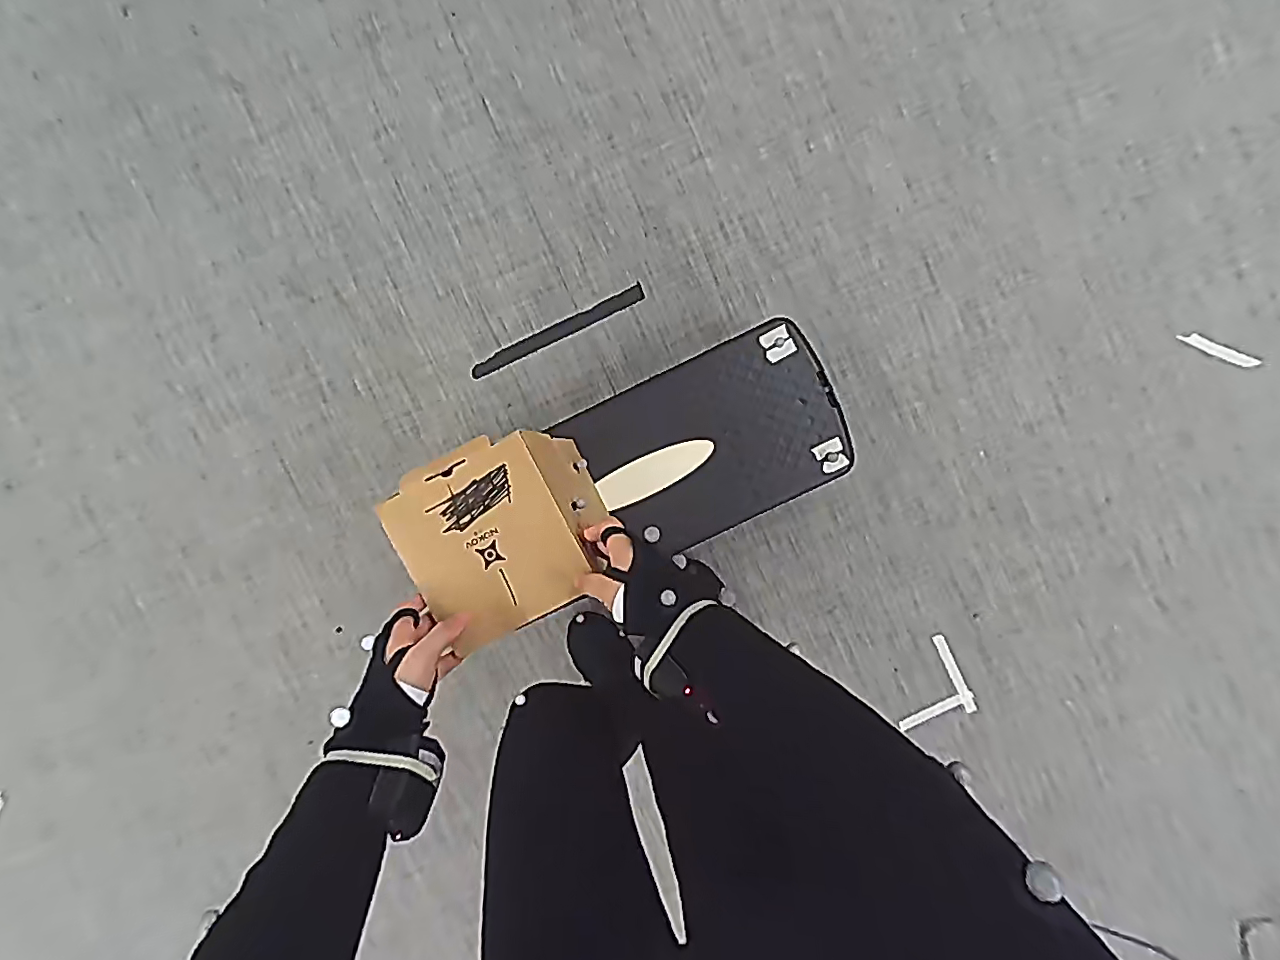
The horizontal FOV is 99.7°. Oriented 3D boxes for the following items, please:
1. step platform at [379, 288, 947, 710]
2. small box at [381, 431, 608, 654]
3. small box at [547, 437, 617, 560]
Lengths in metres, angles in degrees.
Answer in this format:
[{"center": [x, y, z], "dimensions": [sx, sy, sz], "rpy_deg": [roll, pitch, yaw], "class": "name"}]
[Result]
[{"center": [0.026, 0.027, 0.741], "dimensions": [0.684, 0.204, 0.286], "rpy_deg": [-26, 93, 1], "class": "step platform"}, {"center": [-0.147, 0.059, 0.614], "dimensions": [0.168, 0.176, 0.179], "rpy_deg": [-27, 94, 2], "class": "small box"}, {"center": [-0.143, 0.052, 0.778], "dimensions": [0.168, 0.176, 0.179], "rpy_deg": [-26, 93, 2], "class": "small box"}]
